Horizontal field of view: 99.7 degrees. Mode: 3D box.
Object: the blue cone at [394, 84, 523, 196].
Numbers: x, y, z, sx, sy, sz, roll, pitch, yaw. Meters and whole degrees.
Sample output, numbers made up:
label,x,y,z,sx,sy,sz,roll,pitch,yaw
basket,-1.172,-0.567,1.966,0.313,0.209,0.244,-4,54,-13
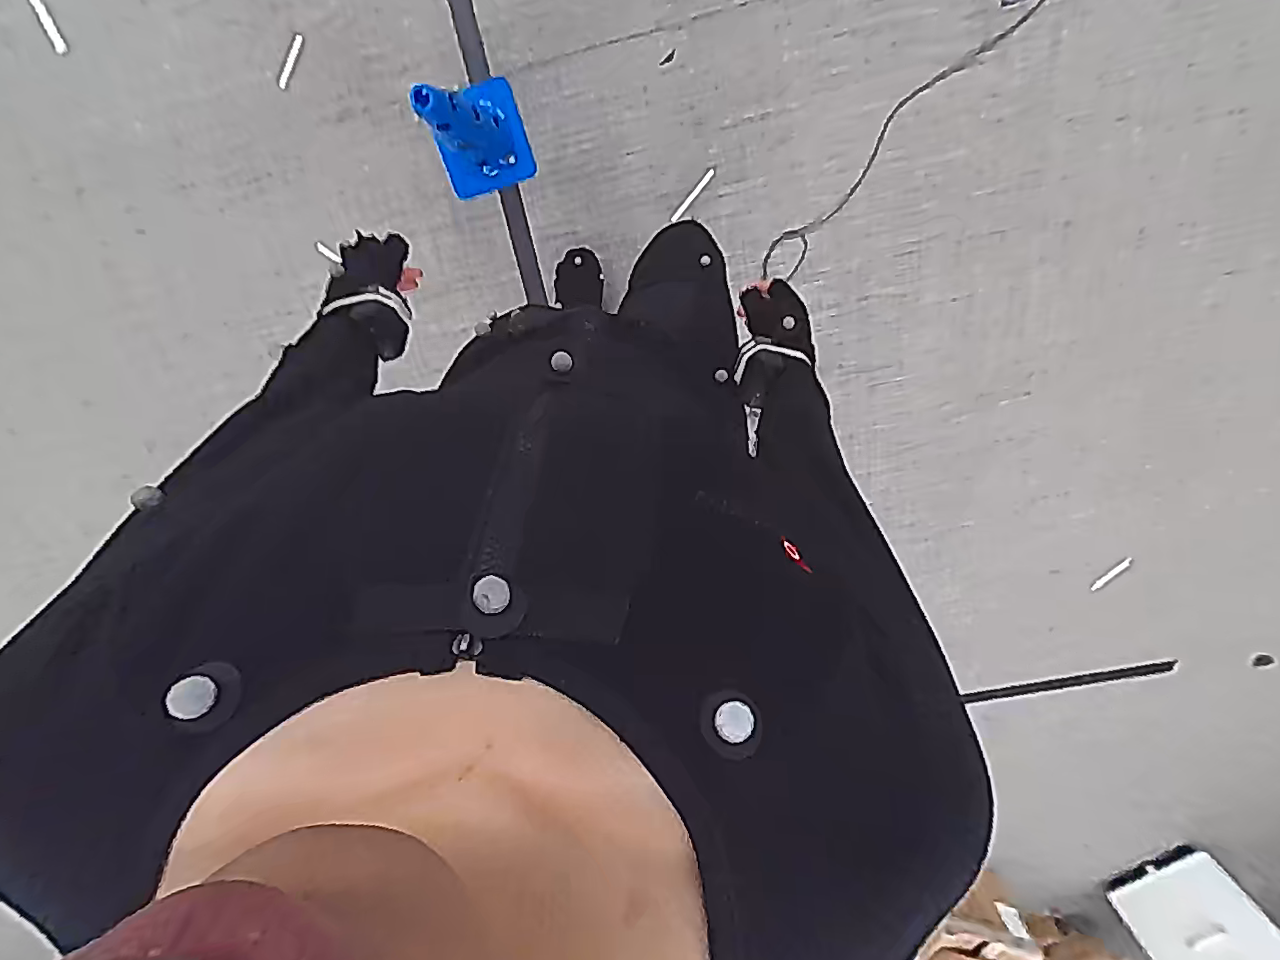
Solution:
label,x,y,z,sx,sy,sz,roll,pitch,yaw
blue cone,-0.371,-0.692,1.052,0.192,0.380,0.193,-14,112,7
